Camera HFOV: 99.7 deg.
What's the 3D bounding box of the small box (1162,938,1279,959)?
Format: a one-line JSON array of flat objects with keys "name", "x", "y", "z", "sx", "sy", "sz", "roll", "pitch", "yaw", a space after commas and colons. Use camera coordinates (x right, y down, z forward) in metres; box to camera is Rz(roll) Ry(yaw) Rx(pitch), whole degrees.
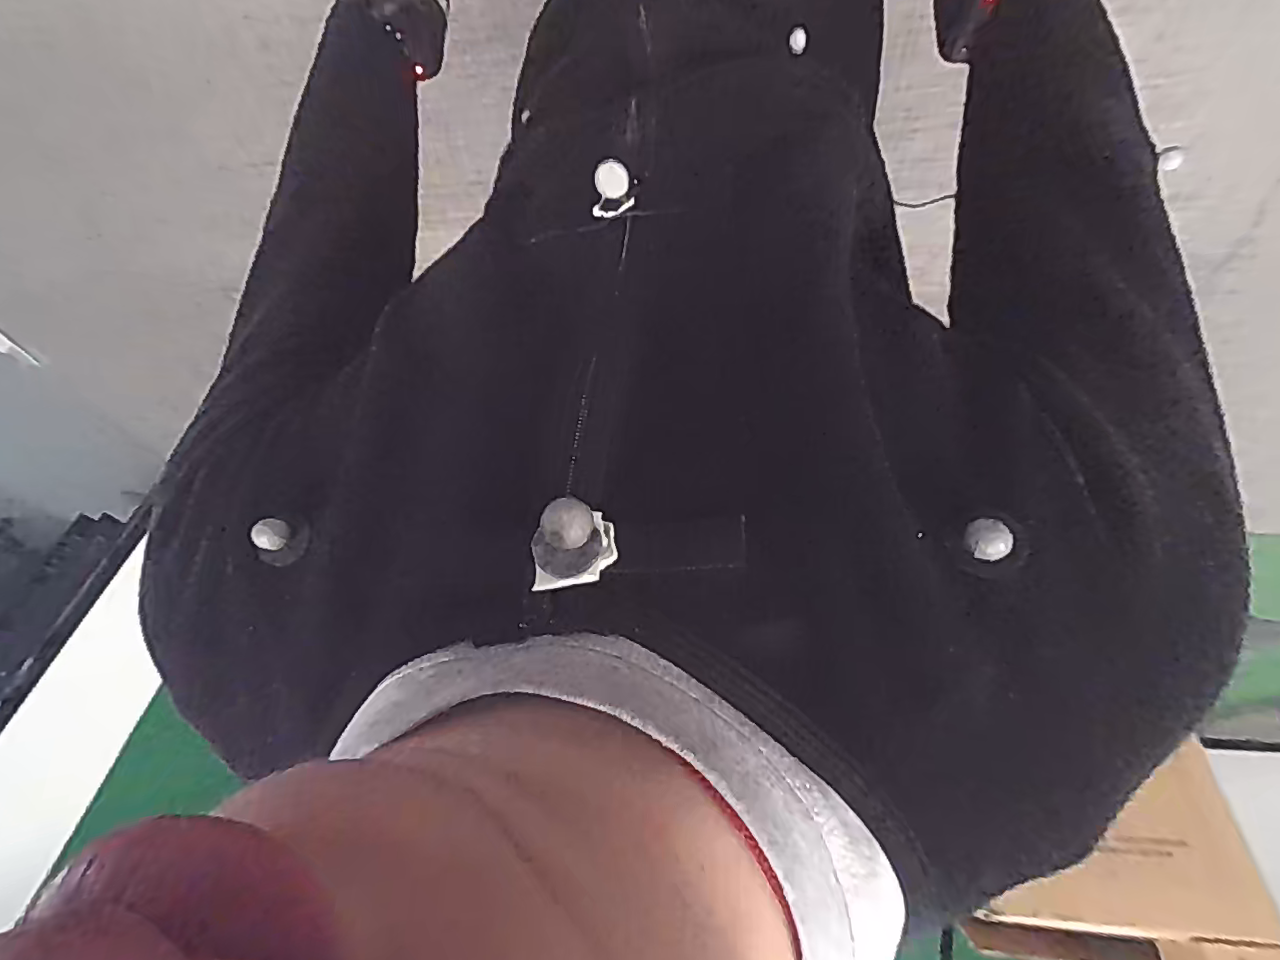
[{"name": "small box", "x": 1.209, "y": 1.032, "z": 1.077, "sx": 0.168, "sy": 0.176, "sz": 0.179, "roll": -3, "pitch": 143, "yaw": 12}]
